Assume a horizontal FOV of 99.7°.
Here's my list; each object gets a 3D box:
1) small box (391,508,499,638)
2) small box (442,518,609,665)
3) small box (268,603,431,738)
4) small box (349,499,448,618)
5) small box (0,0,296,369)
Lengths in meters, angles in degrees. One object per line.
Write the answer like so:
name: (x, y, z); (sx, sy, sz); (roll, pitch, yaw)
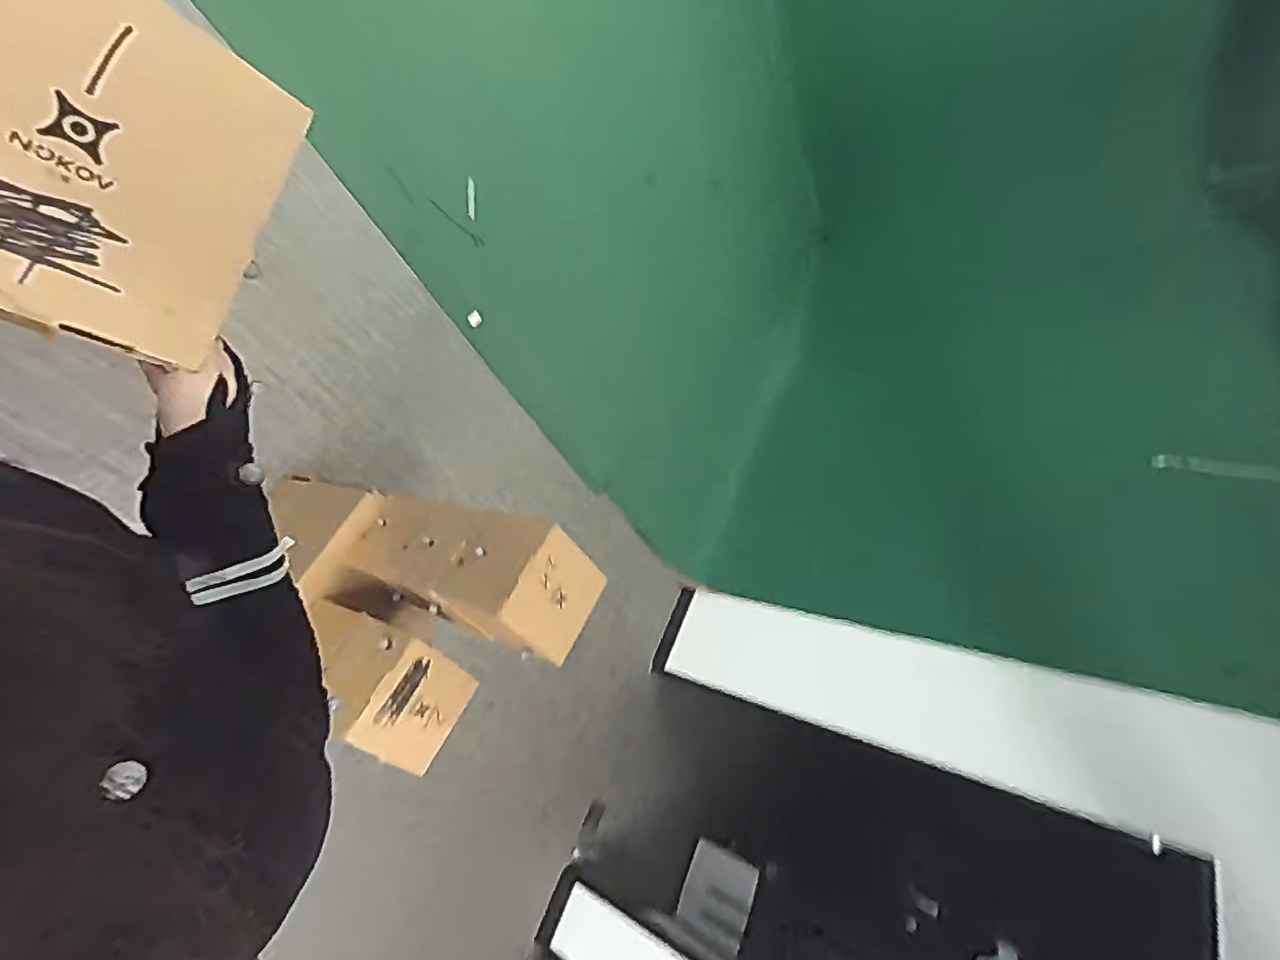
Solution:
small box: (-0.321, 0.165, 1.007); (0.168, 0.176, 0.179); (-60, 135, -27)
small box: (-0.189, 0.179, 0.909); (0.168, 0.176, 0.179); (-60, 136, -27)
small box: (-0.542, 0.348, 1.013); (0.168, 0.176, 0.179); (-60, 138, -29)
small box: (-0.448, 0.154, 1.111); (0.179, 0.176, 0.168); (54, 55, -40)
small box: (-0.340, -0.186, 0.313); (0.168, 0.176, 0.179); (23, 89, -49)
